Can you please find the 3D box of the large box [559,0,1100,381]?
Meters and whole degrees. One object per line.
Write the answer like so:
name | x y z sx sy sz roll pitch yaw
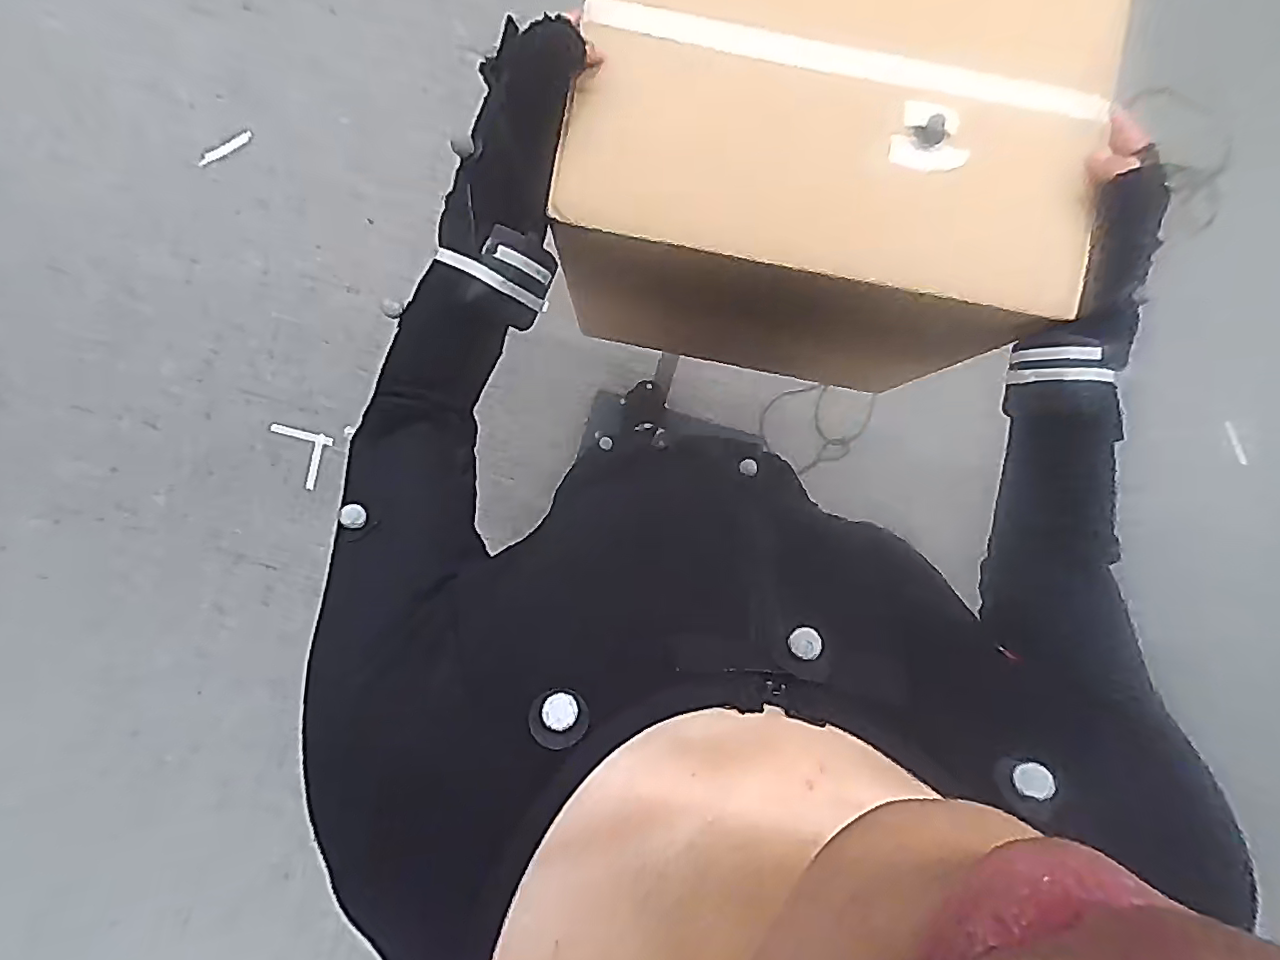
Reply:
large box | 0.149 -0.316 0.573 0.408 0.320 0.320 10 89 -2

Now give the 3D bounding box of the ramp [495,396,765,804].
ramp | -0.012 0.297 1.456 0.509 0.206 0.991 14 93 0
